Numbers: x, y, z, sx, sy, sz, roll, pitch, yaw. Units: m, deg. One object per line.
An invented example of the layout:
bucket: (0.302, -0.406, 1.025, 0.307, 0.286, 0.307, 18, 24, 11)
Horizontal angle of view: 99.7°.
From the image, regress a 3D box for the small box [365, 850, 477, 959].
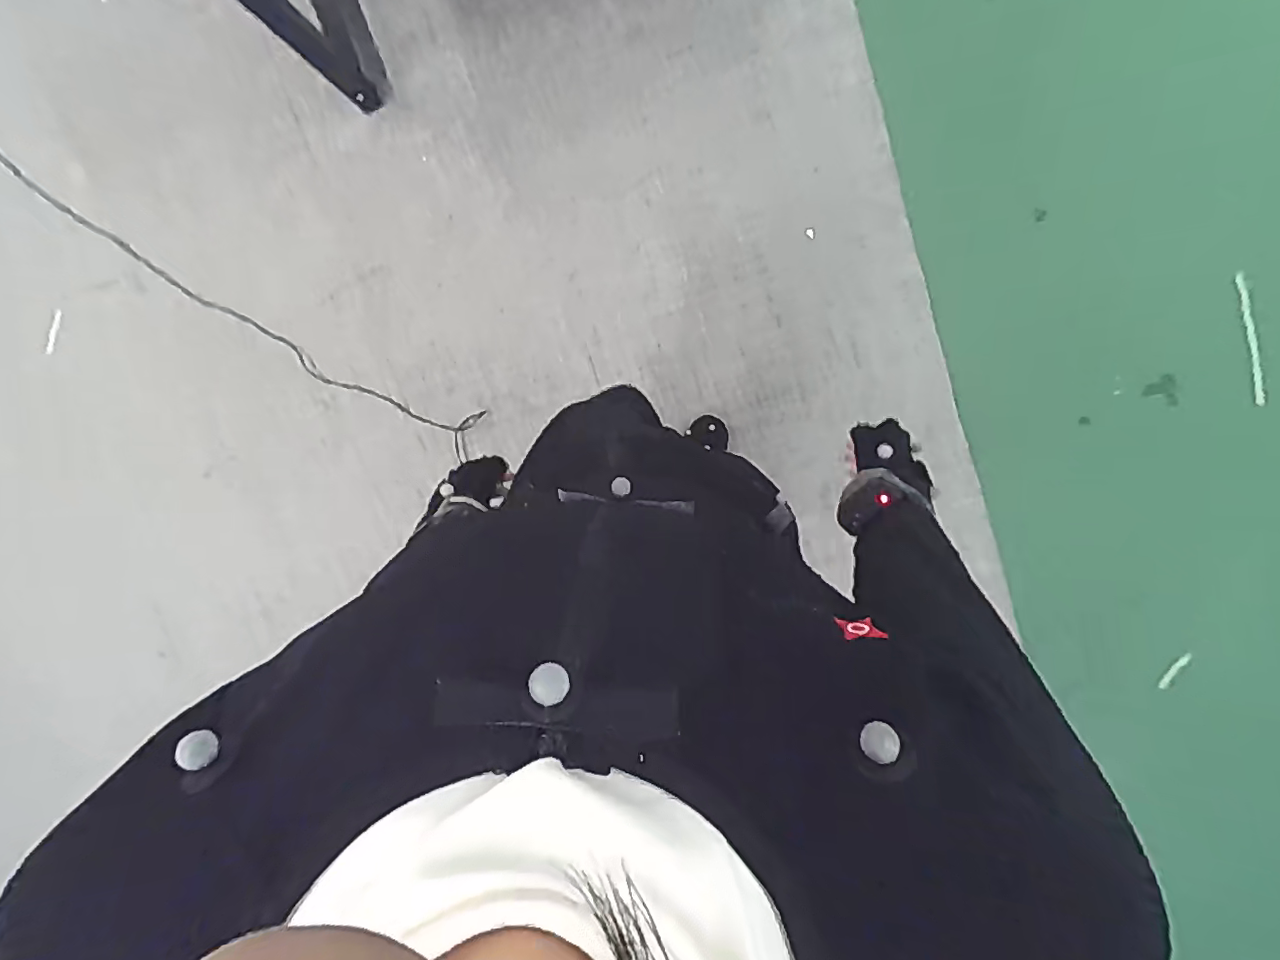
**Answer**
small box: (-0.490, 0.996, 1.230, 0.168, 0.176, 0.179, 19, 99, 3)
